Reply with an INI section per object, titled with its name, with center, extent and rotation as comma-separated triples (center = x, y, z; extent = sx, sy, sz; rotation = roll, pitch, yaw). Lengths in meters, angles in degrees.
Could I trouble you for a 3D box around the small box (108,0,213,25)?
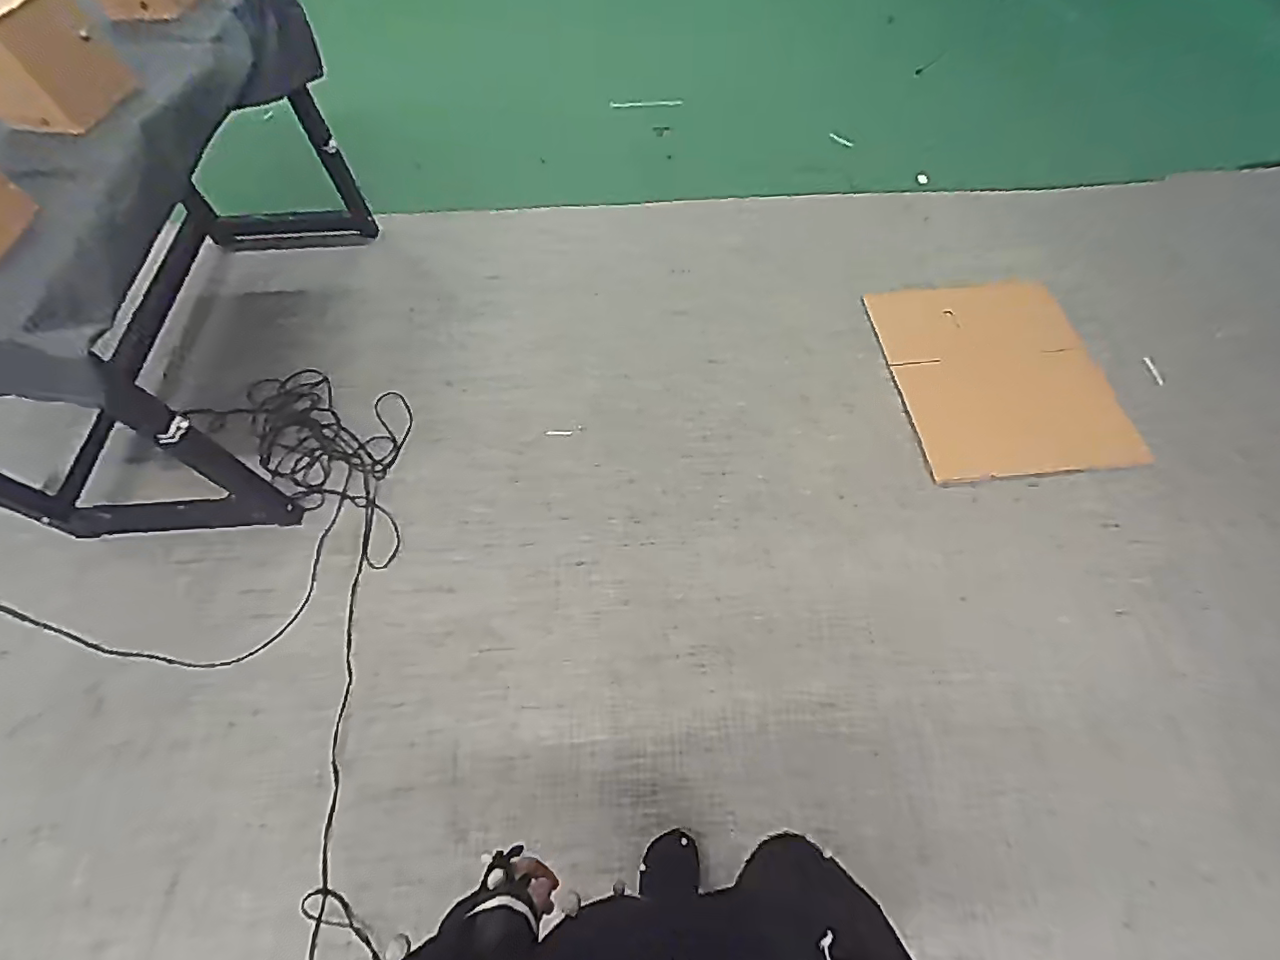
[small box]
center = -1.084, -1.134, 1.181
extent = 0.168, 0.176, 0.179
rotation = 3, 62, 1
